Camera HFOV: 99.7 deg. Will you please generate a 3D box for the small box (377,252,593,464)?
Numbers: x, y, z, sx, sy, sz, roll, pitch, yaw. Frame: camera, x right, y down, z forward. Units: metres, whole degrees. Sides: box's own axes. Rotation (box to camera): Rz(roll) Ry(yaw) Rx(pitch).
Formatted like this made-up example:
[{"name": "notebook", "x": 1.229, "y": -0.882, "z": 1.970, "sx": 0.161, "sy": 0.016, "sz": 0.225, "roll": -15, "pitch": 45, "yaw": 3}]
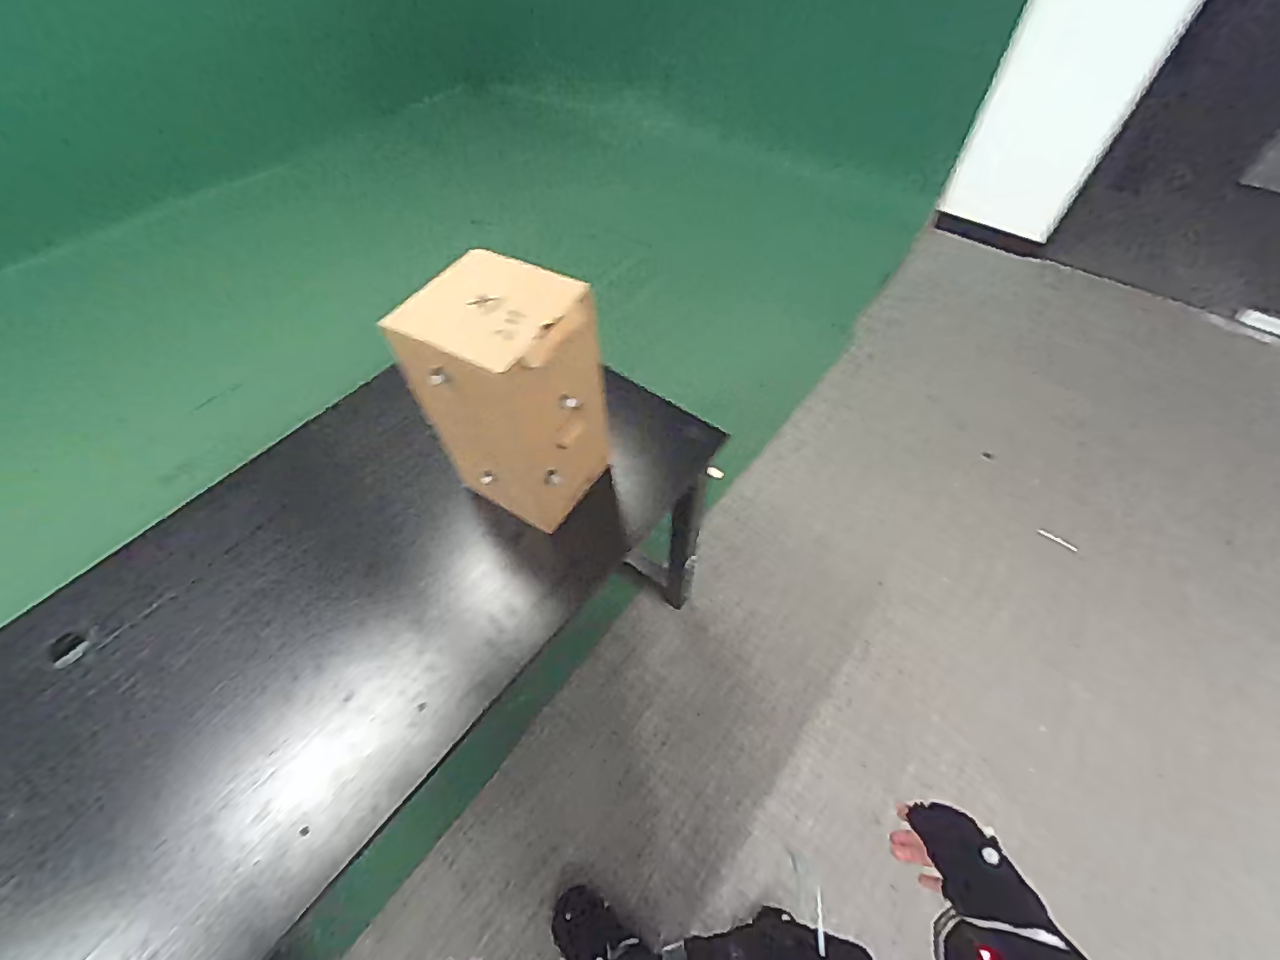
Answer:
[{"name": "small box", "x": -0.177, "y": -0.148, "z": 0.675, "sx": 0.179, "sy": 0.176, "sz": 0.168, "roll": 25, "pitch": 60, "yaw": 17}]
